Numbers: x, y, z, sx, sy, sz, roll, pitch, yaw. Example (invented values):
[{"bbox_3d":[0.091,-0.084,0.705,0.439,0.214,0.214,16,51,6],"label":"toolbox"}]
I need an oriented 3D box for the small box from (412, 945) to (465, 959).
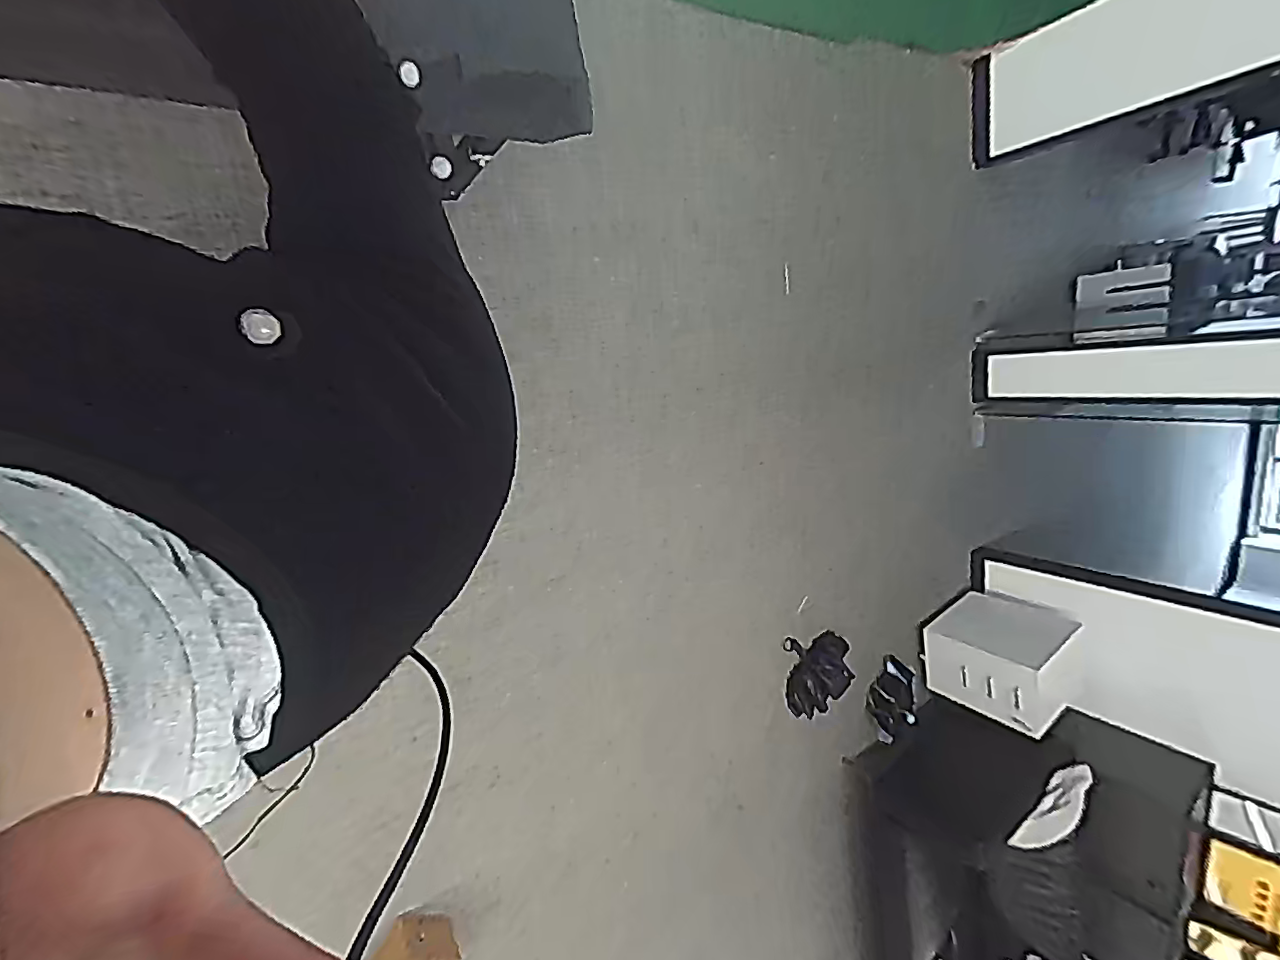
[{"bbox_3d":[-0.562,1.422,1.463,0.168,0.176,0.179,41,73,-31],"label":"small box"}]

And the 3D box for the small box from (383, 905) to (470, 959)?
[{"bbox_3d":[-0.641,1.412,1.608,0.168,0.176,0.179,32,80,-33],"label":"small box"}]
